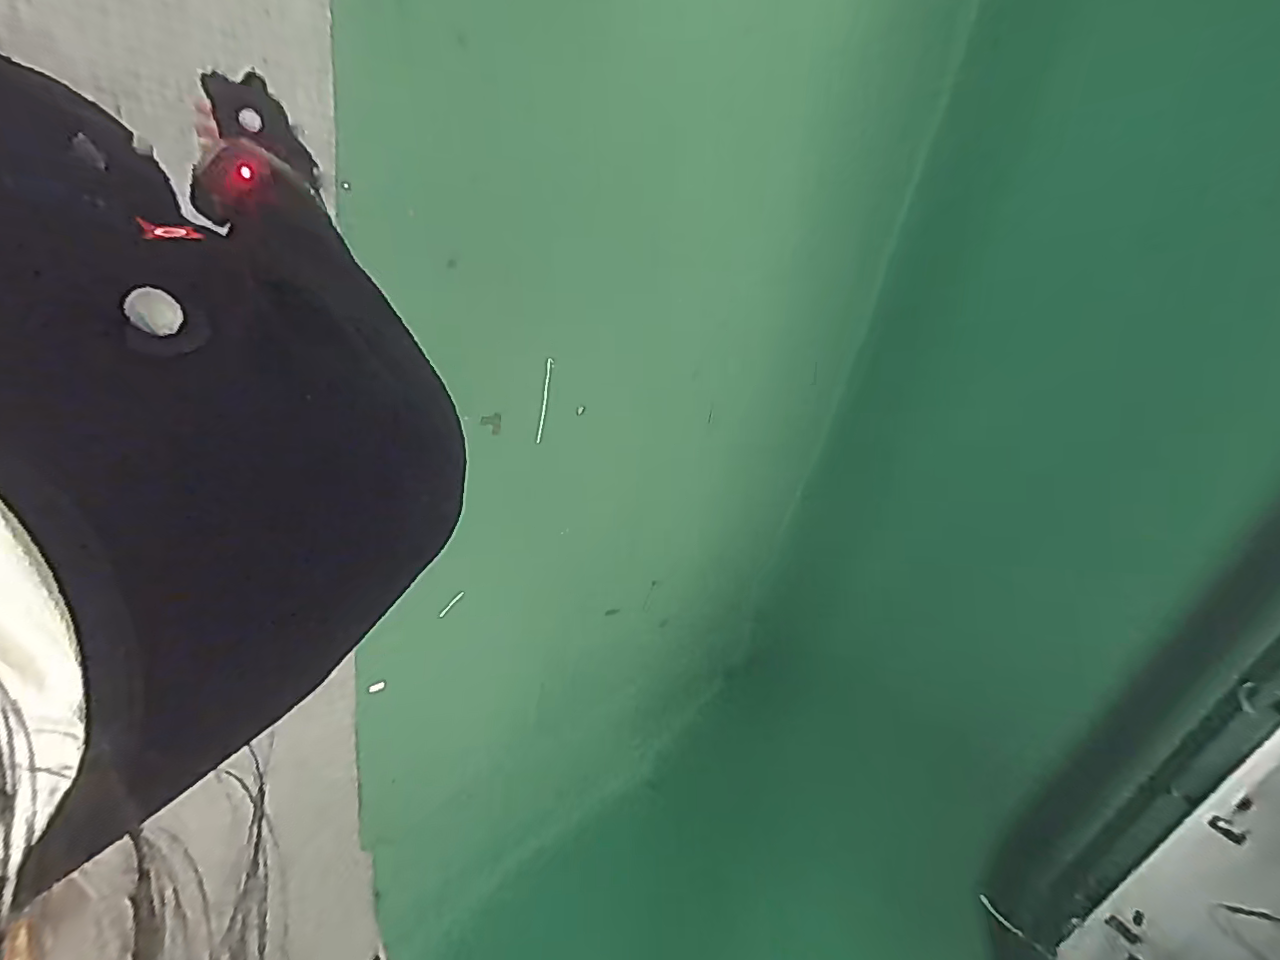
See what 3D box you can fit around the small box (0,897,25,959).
[{"bbox_3d":[-1.619,1.164,1.295,0.179,0.176,0.168,-12,124,-45],"label":"small box"}]
